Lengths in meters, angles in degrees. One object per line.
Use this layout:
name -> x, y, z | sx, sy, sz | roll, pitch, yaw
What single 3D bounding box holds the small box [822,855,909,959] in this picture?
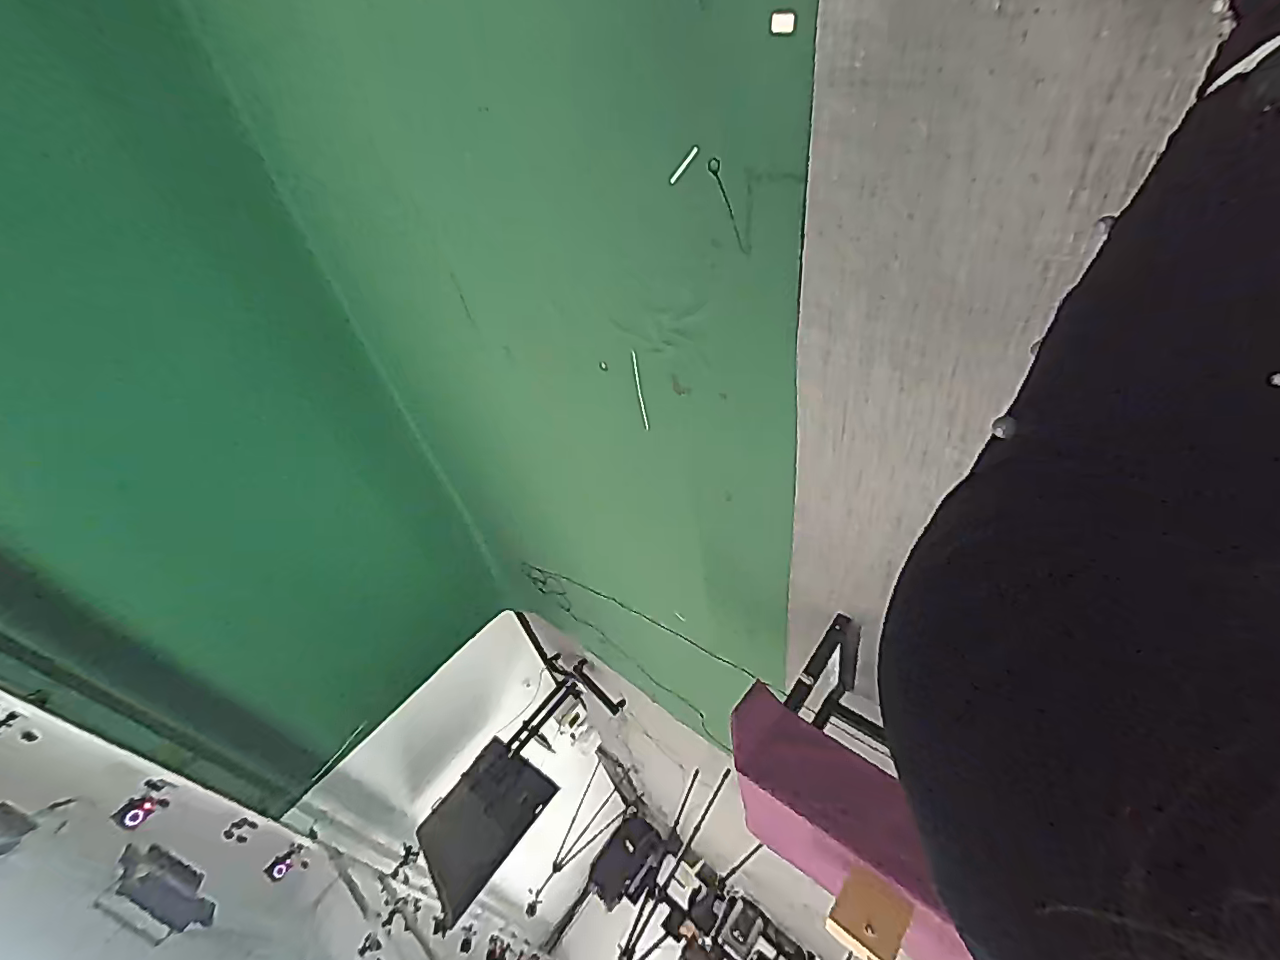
small box -> 0.643, 1.224, 1.543 | 0.179, 0.176, 0.168 | 24, 144, 35
